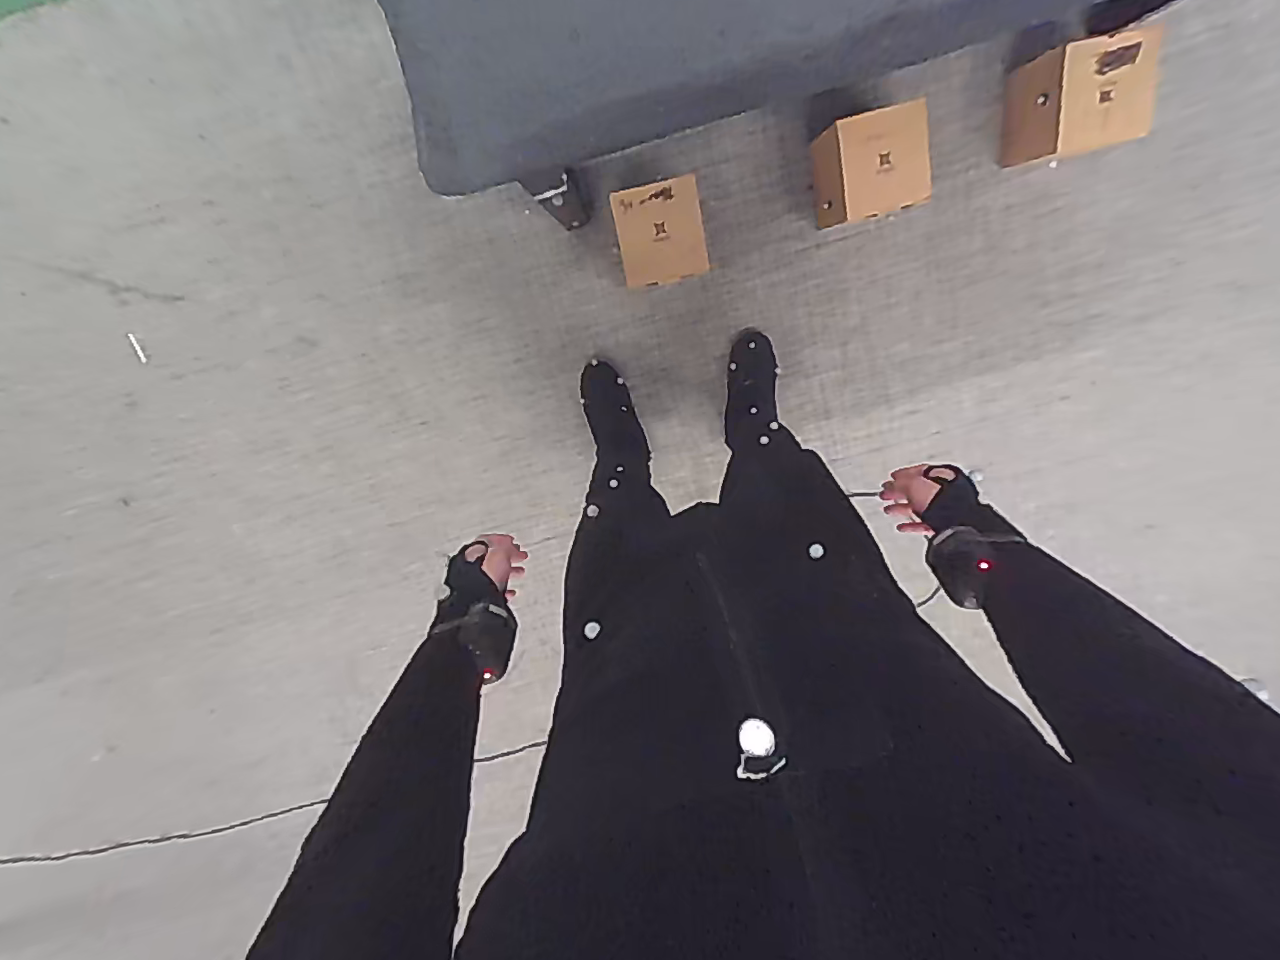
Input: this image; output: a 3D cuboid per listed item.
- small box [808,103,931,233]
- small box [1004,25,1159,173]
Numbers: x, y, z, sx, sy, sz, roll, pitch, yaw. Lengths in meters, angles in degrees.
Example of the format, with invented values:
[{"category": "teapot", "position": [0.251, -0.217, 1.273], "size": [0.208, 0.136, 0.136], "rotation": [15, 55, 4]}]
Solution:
[{"category": "small box", "position": [0.453, -0.609, 1.085], "size": [0.168, 0.176, 0.179], "rotation": [-15, 106, 3]}, {"category": "small box", "position": [0.838, -0.722, 1.045], "size": [0.168, 0.176, 0.179], "rotation": [-11, 109, 3]}]
